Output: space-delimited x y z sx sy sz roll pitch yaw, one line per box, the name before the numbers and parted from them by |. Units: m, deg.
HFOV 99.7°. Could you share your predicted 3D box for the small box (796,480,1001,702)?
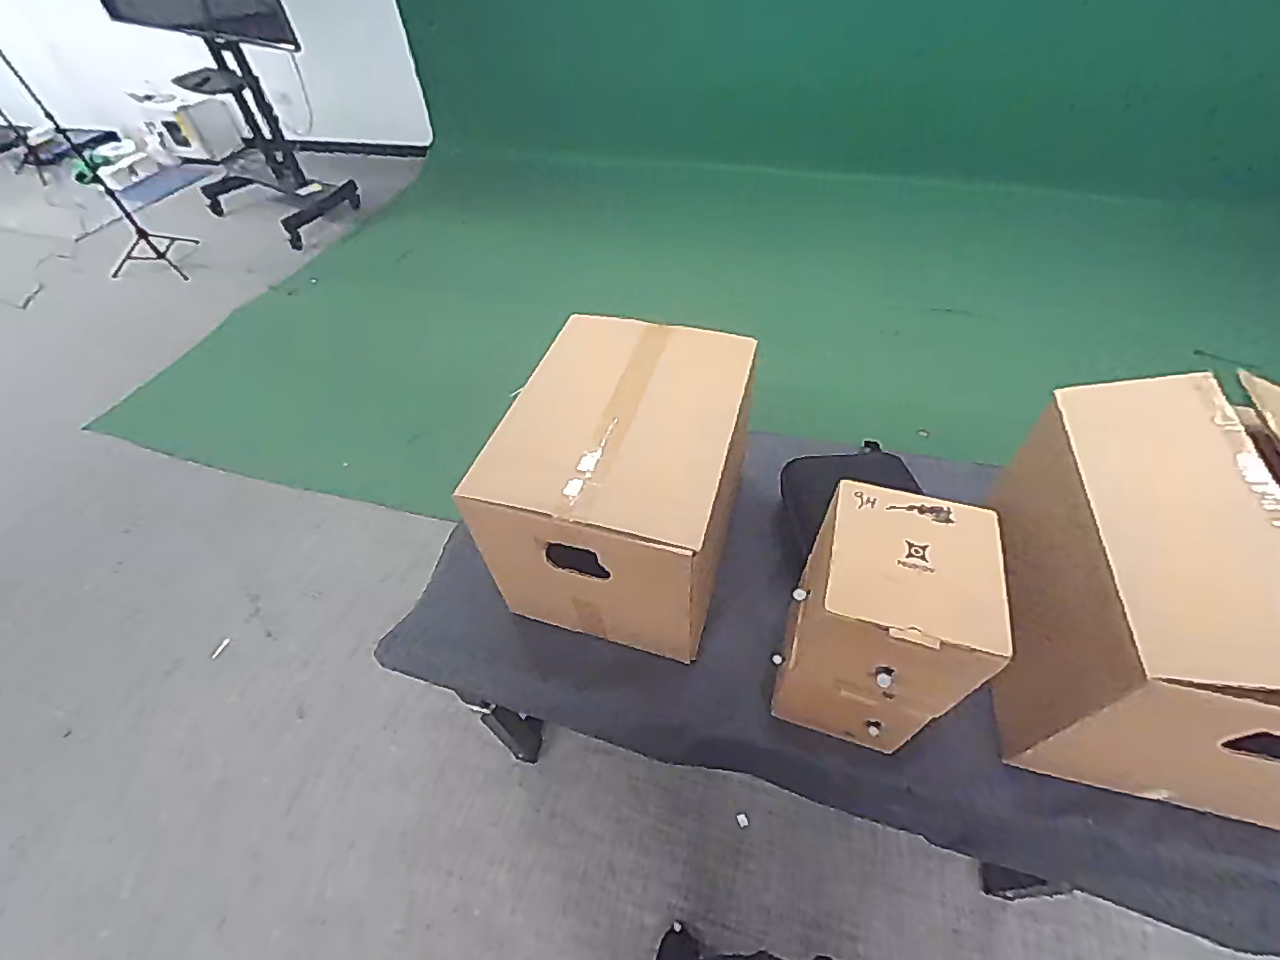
small box | 0.284 0.131 0.621 0.168 0.176 0.179 13 53 13
